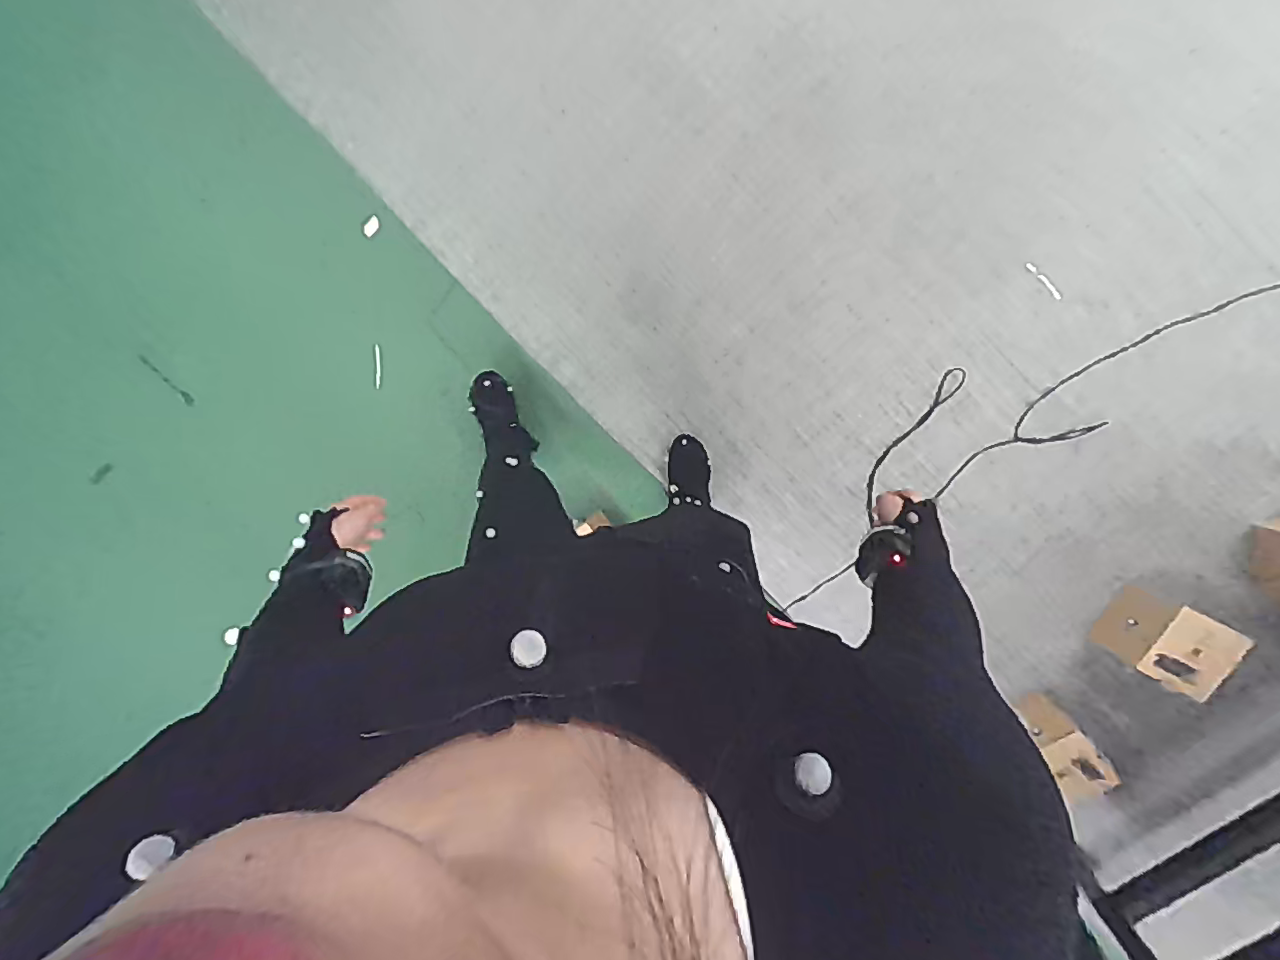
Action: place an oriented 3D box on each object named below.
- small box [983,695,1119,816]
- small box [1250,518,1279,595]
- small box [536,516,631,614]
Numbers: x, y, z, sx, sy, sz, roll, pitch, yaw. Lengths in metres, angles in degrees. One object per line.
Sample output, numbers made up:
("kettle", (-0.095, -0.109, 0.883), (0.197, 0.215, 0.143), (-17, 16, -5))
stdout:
("small box", (1.011, 0.677, 1.349), (0.179, 0.176, 0.168), (-39, 91, 12))
("small box", (1.532, 0.176, 1.205), (0.168, 0.176, 0.179), (-11, 97, 9))
("small box", (-0.141, 0.217, 1.437), (0.168, 0.176, 0.179), (-36, 91, 10))
